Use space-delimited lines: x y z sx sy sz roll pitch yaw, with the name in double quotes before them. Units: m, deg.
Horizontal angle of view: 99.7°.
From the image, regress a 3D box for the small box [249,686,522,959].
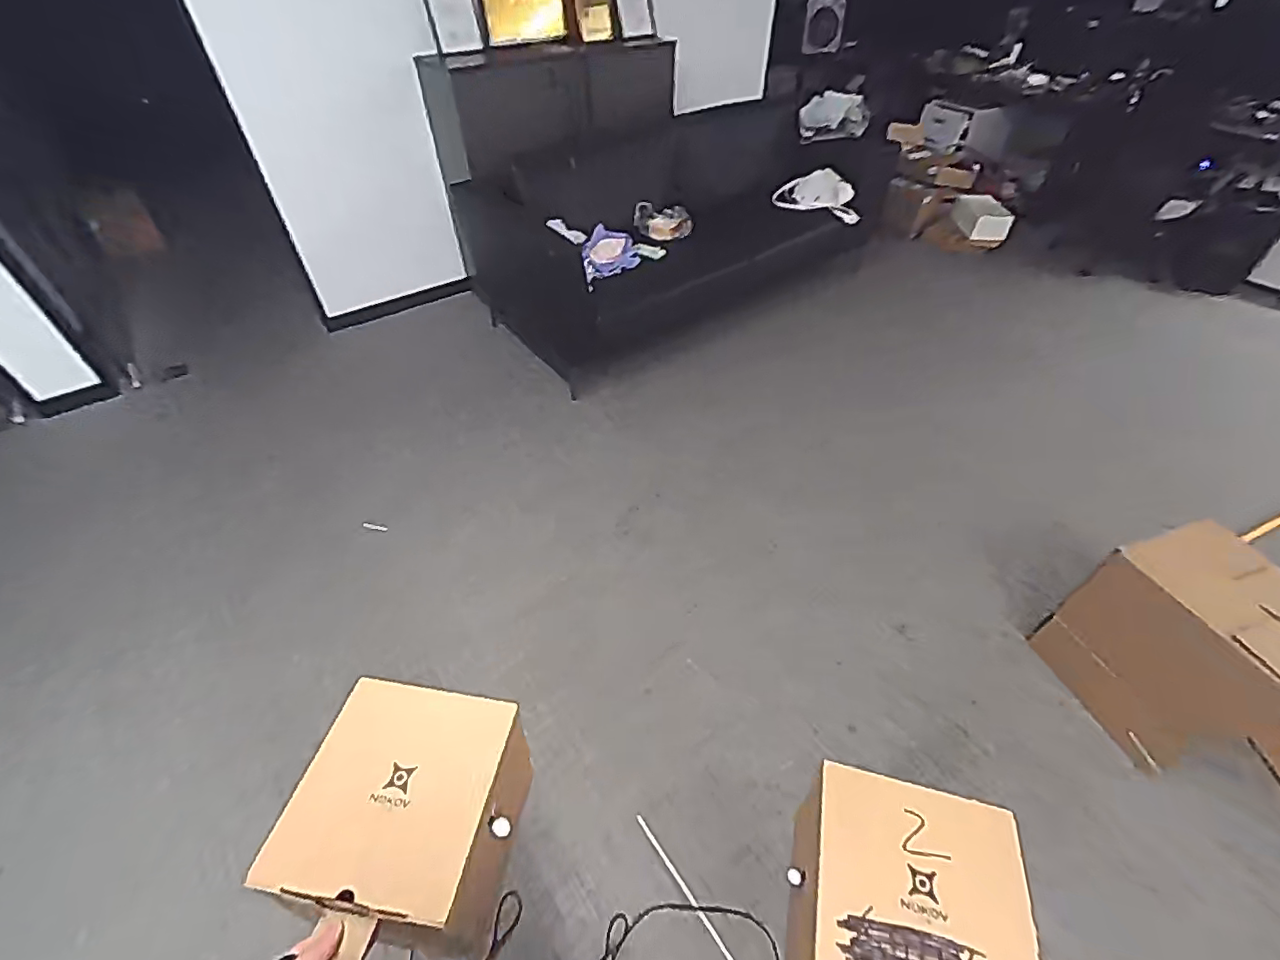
"small box" -0.220 0.335 0.531 0.168 0.176 0.179 8 42 4
